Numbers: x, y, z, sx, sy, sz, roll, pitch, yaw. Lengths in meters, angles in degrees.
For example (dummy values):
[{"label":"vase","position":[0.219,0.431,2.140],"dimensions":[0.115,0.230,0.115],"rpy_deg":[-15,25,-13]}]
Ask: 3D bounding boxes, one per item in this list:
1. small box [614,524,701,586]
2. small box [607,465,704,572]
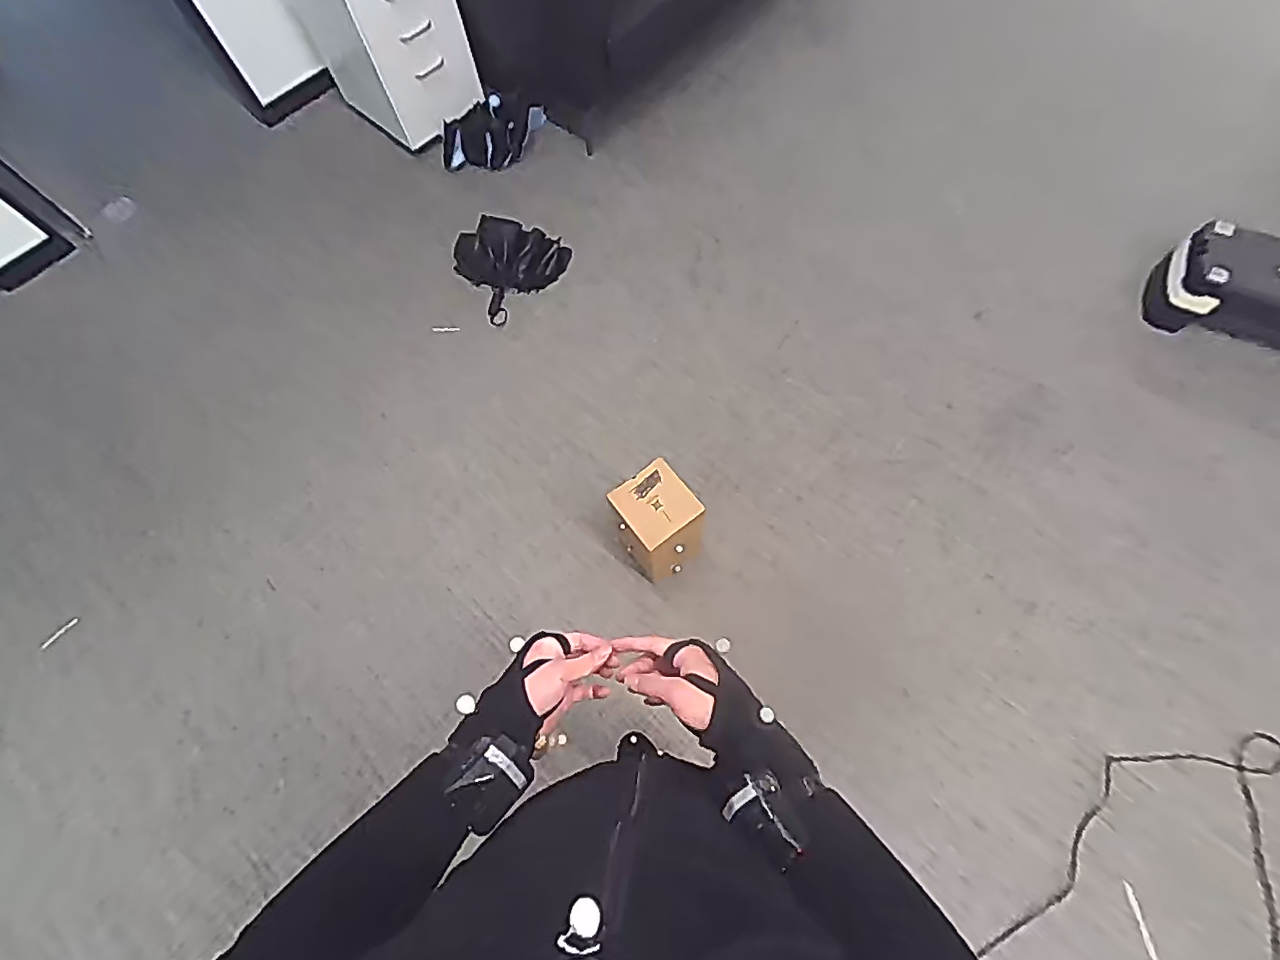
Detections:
[{"label":"small box","position":[0.046,0.168,1.490],"dimensions":[0.168,0.176,0.179],"rpy_deg":[-37,71,-11]},{"label":"small box","position":[0.039,0.101,1.340],"dimensions":[0.168,0.176,0.179],"rpy_deg":[-35,70,-11]}]
